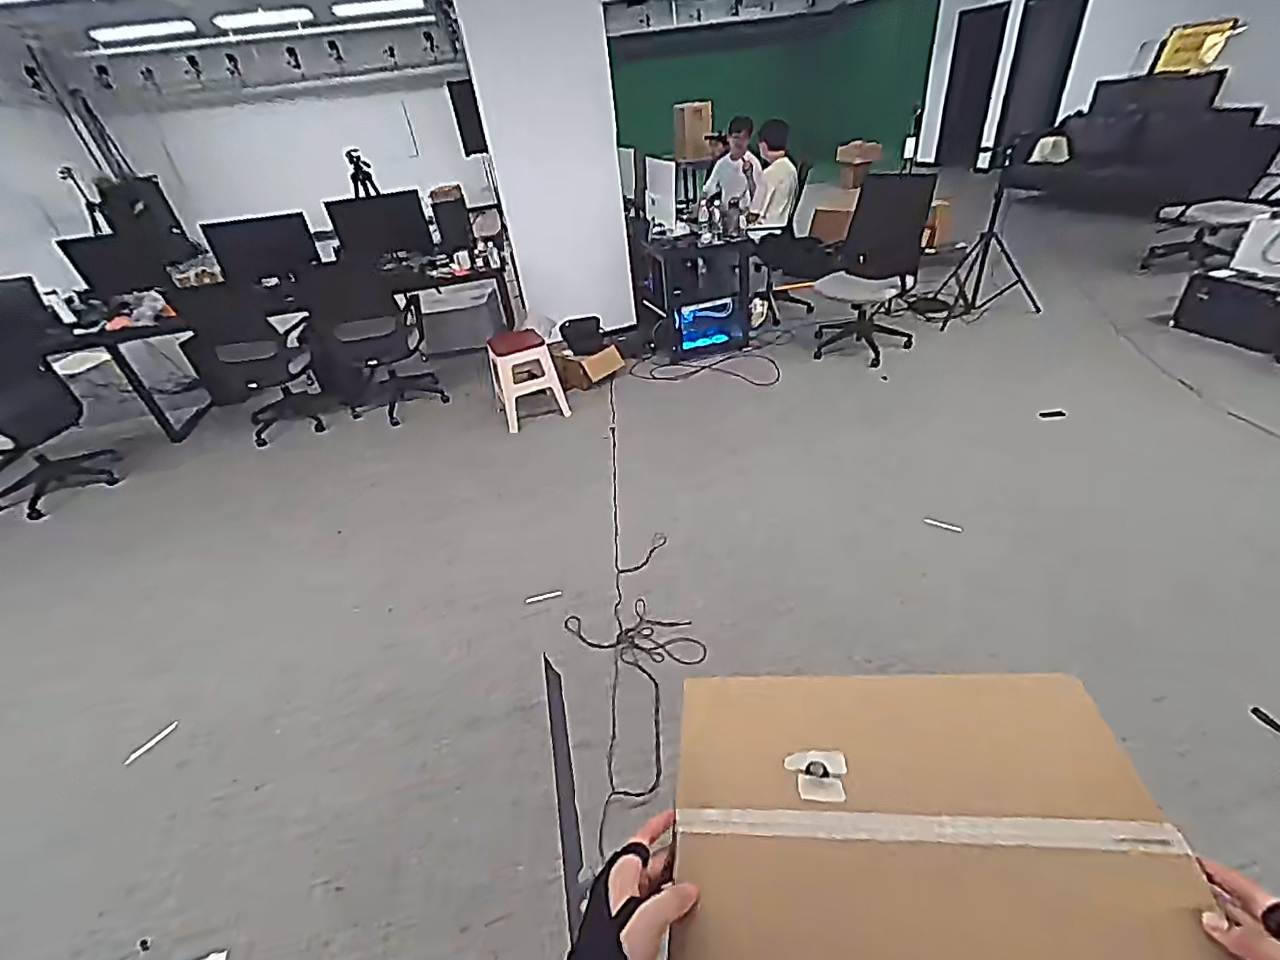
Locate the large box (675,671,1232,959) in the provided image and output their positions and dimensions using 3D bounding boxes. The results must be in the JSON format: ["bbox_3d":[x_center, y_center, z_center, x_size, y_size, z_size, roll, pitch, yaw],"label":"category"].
[{"bbox_3d":[0.263,0.431,0.566,0.408,0.320,0.320,-6,34,12],"label":"large box"}]
